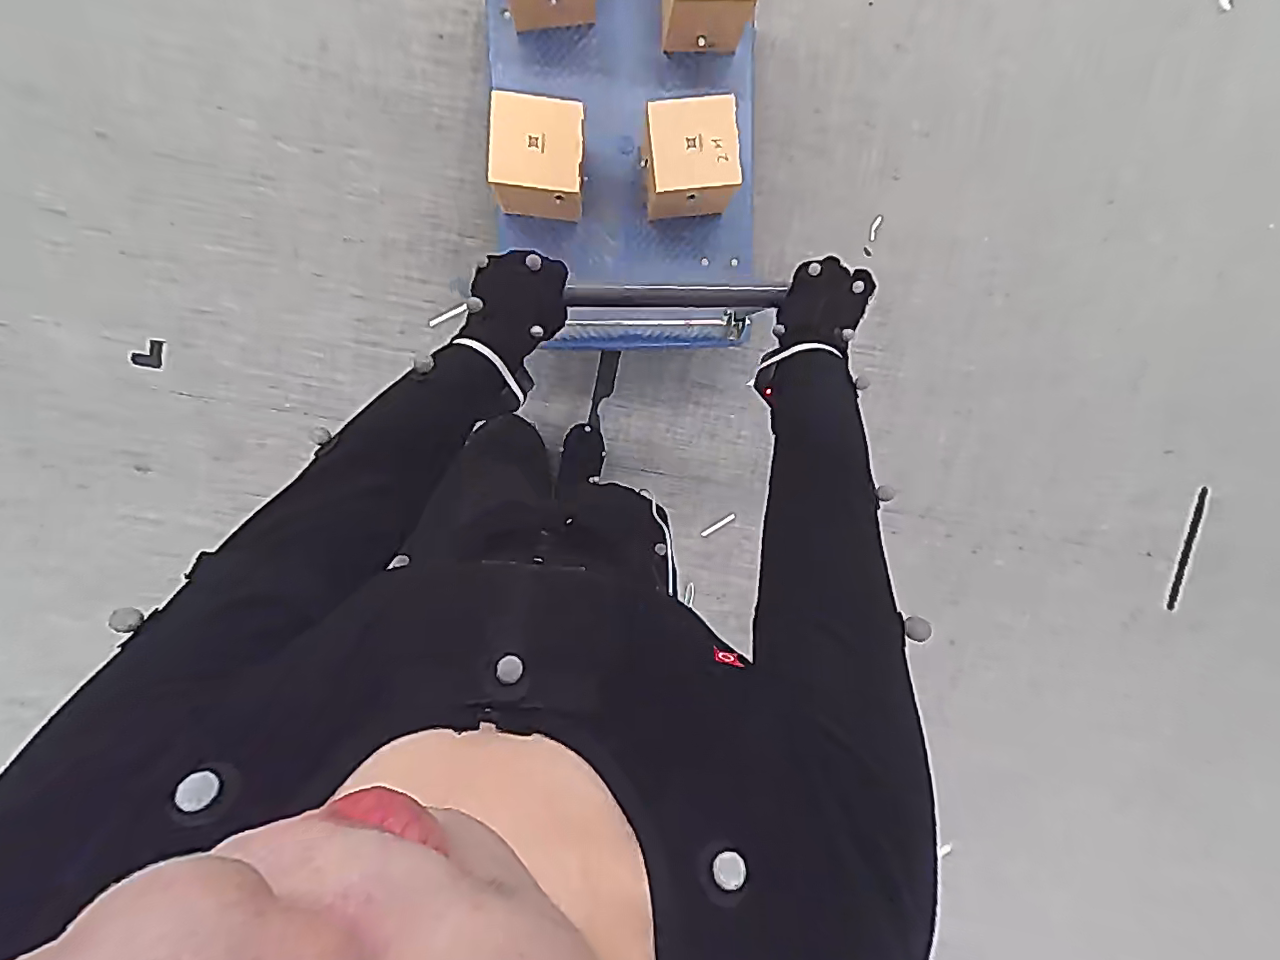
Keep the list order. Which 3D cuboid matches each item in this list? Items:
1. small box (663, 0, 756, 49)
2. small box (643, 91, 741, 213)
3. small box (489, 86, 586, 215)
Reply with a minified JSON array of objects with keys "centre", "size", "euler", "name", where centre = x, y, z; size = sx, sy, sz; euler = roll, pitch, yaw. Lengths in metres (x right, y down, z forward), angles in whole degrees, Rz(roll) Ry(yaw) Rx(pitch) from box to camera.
[{"centre":[0.135,-1.017,1.086],"size":[0.168,0.176,0.179],"euler":[-3,100,-4],"name":"small box"},{"centre":[0.102,-0.677,1.135],"size":[0.179,0.176,0.168],"euler":[-7,99,-4],"name":"small box"},{"centre":[-0.204,-0.665,1.111],"size":[0.179,0.176,0.168],"euler":[4,98,-7],"name":"small box"}]
